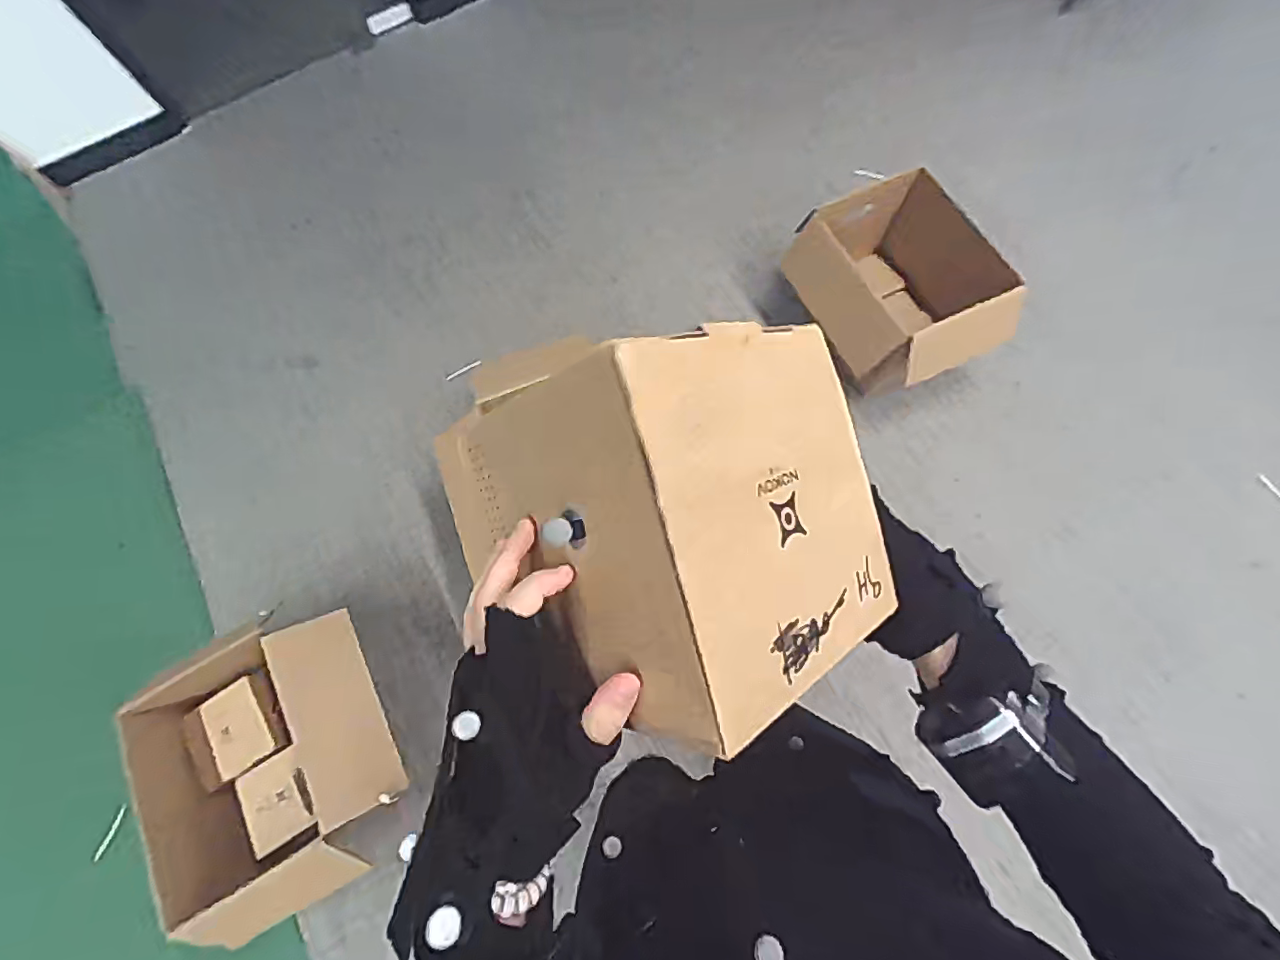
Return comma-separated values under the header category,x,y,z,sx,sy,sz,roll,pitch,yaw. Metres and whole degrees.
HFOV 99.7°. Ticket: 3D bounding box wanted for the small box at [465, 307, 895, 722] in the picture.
category,x,y,z,sx,sy,sz,roll,pitch,yaw
small box,0.017,0.014,0.328,0.168,0.176,0.179,-19,92,-40
